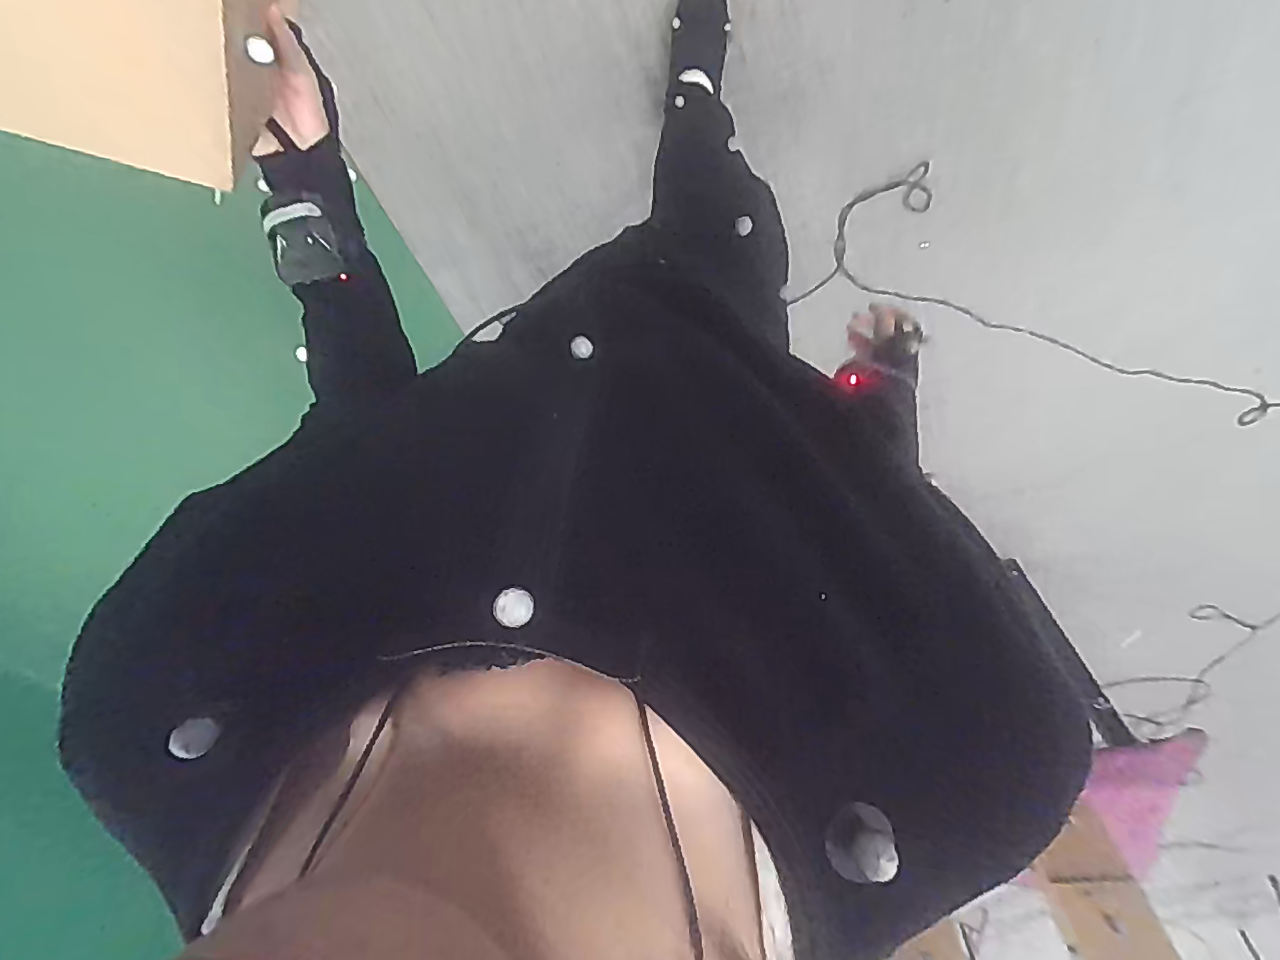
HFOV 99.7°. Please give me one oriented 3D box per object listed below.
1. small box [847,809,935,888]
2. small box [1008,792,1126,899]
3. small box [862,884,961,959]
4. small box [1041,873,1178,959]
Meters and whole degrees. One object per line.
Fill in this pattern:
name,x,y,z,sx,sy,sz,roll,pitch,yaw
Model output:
small box,0.652,0.977,1.407,0.168,0.176,0.179,-18,125,17
small box,1.012,0.878,1.298,0.168,0.176,0.179,-17,123,17
small box,0.642,1.077,1.277,0.179,0.176,0.168,-14,126,16
small box,0.996,0.969,1.163,0.168,0.176,0.179,-16,124,16
